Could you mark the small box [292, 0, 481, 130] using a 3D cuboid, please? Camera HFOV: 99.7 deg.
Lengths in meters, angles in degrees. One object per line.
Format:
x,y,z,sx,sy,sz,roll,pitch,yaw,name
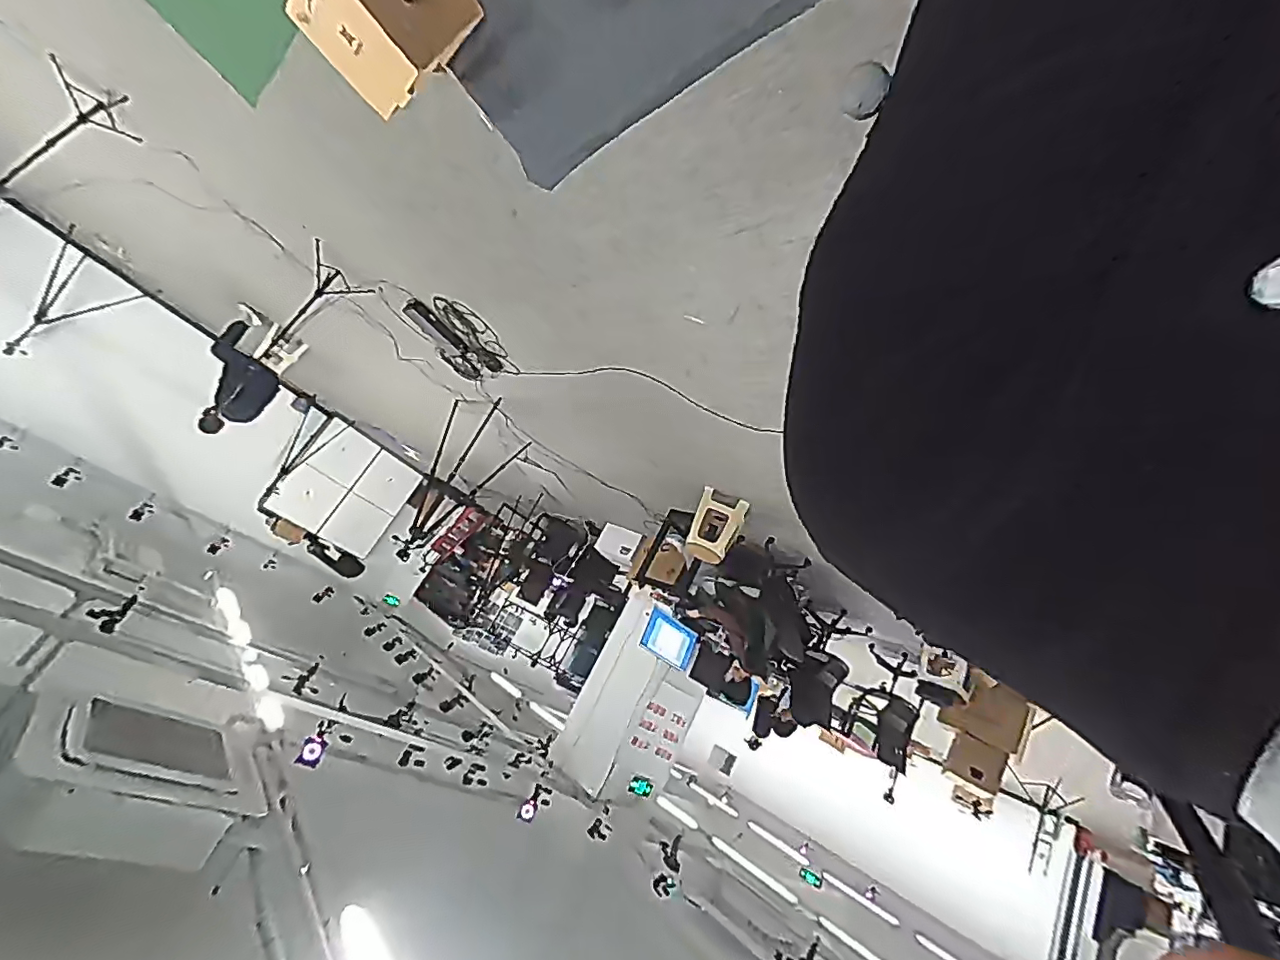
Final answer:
-0.374,-0.689,0.813,0.168,0.176,0.179,4,150,48,small box
